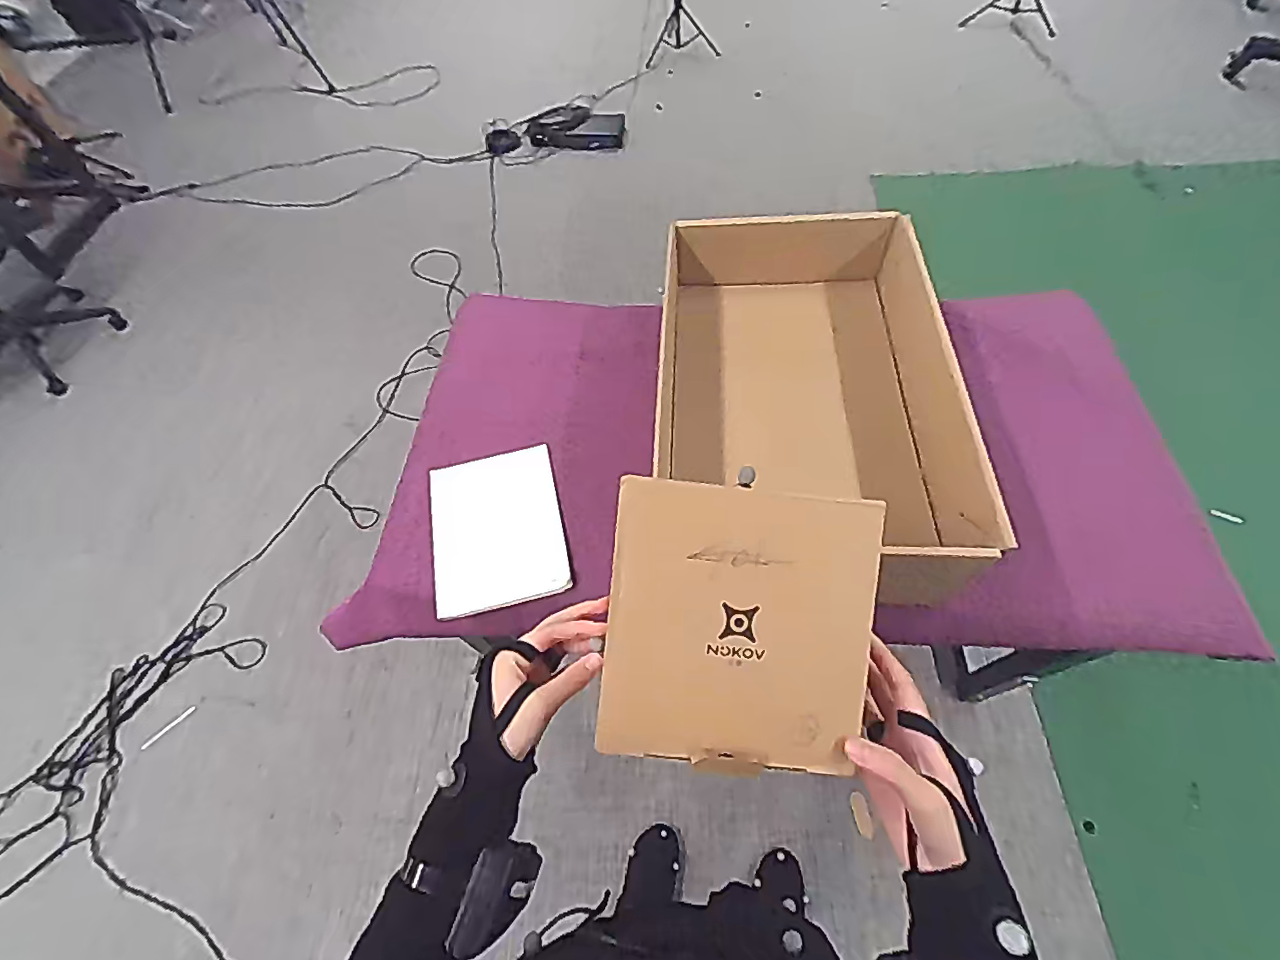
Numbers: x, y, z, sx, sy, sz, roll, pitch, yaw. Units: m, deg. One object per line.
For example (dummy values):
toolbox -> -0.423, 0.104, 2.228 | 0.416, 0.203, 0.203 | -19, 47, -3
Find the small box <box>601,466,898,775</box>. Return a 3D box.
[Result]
small box -> 0.068, 0.085, 0.410 | 0.168, 0.176, 0.179 | 6, 90, 1
